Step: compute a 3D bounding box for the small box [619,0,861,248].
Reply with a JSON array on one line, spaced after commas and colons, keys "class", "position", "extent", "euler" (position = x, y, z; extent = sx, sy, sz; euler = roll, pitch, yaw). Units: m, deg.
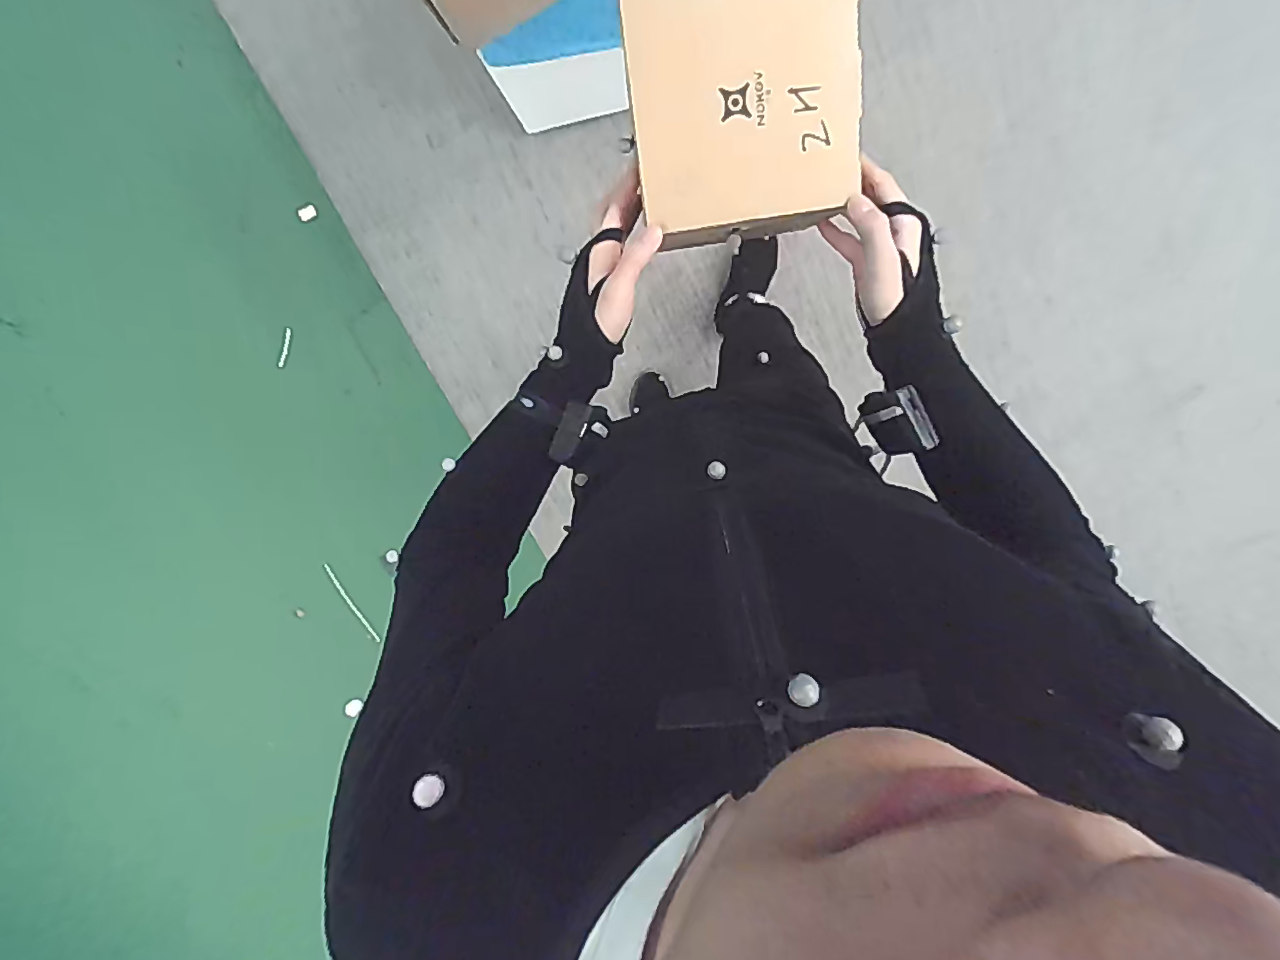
[{"class": "small box", "position": [0.082, -0.314, 0.487], "extent": [0.179, 0.176, 0.168], "euler": [-7, 108, 3]}]
